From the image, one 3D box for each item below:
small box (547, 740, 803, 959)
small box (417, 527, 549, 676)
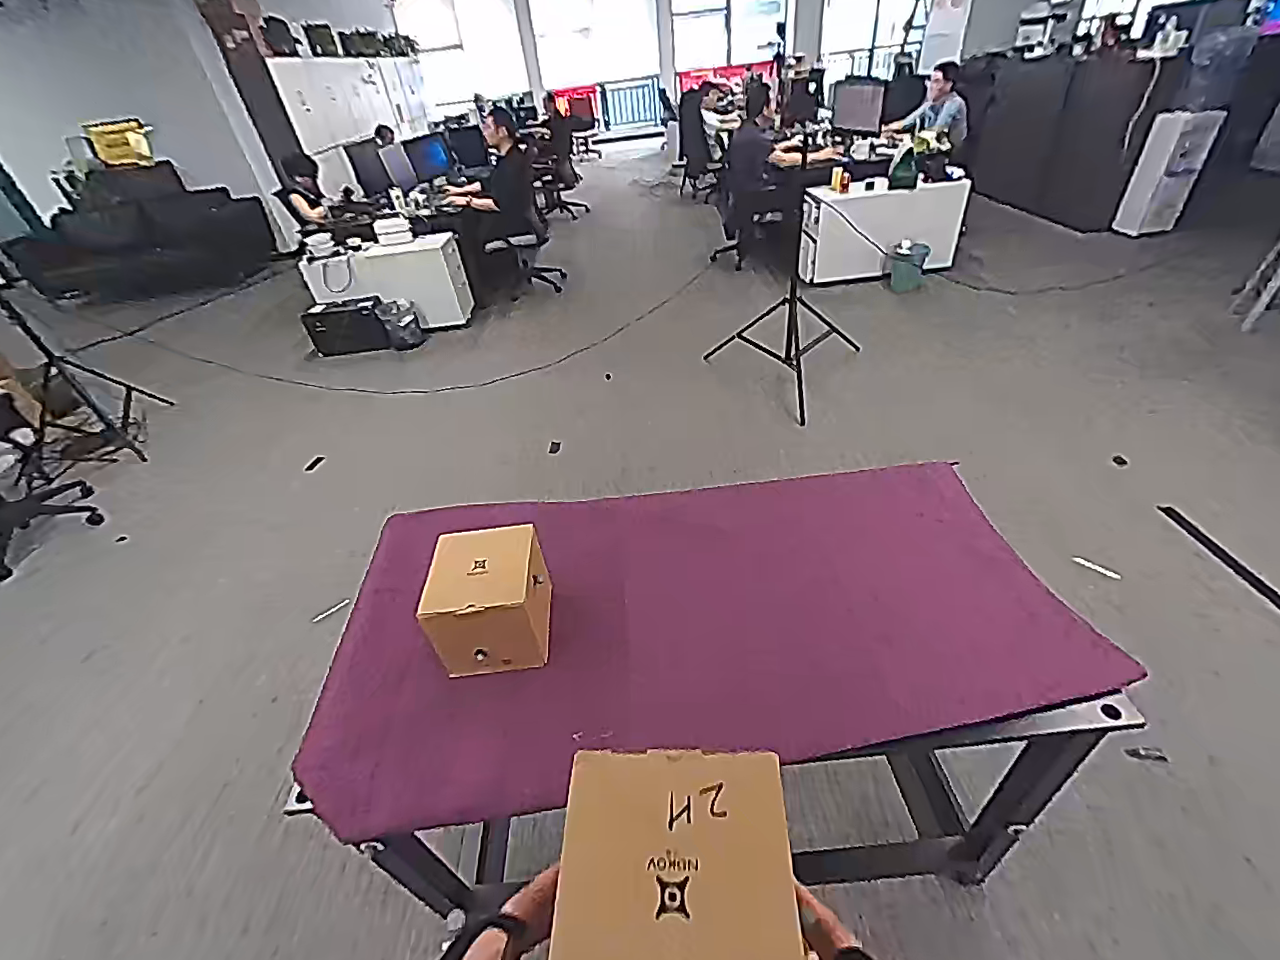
[{"bbox_3d":[0.033,0.330,0.429,0.168,0.176,0.179,-2,42,6],"label":"small box"},{"bbox_3d":[-0.252,0.206,0.921,0.168,0.176,0.179,-7,39,-1],"label":"small box"}]
